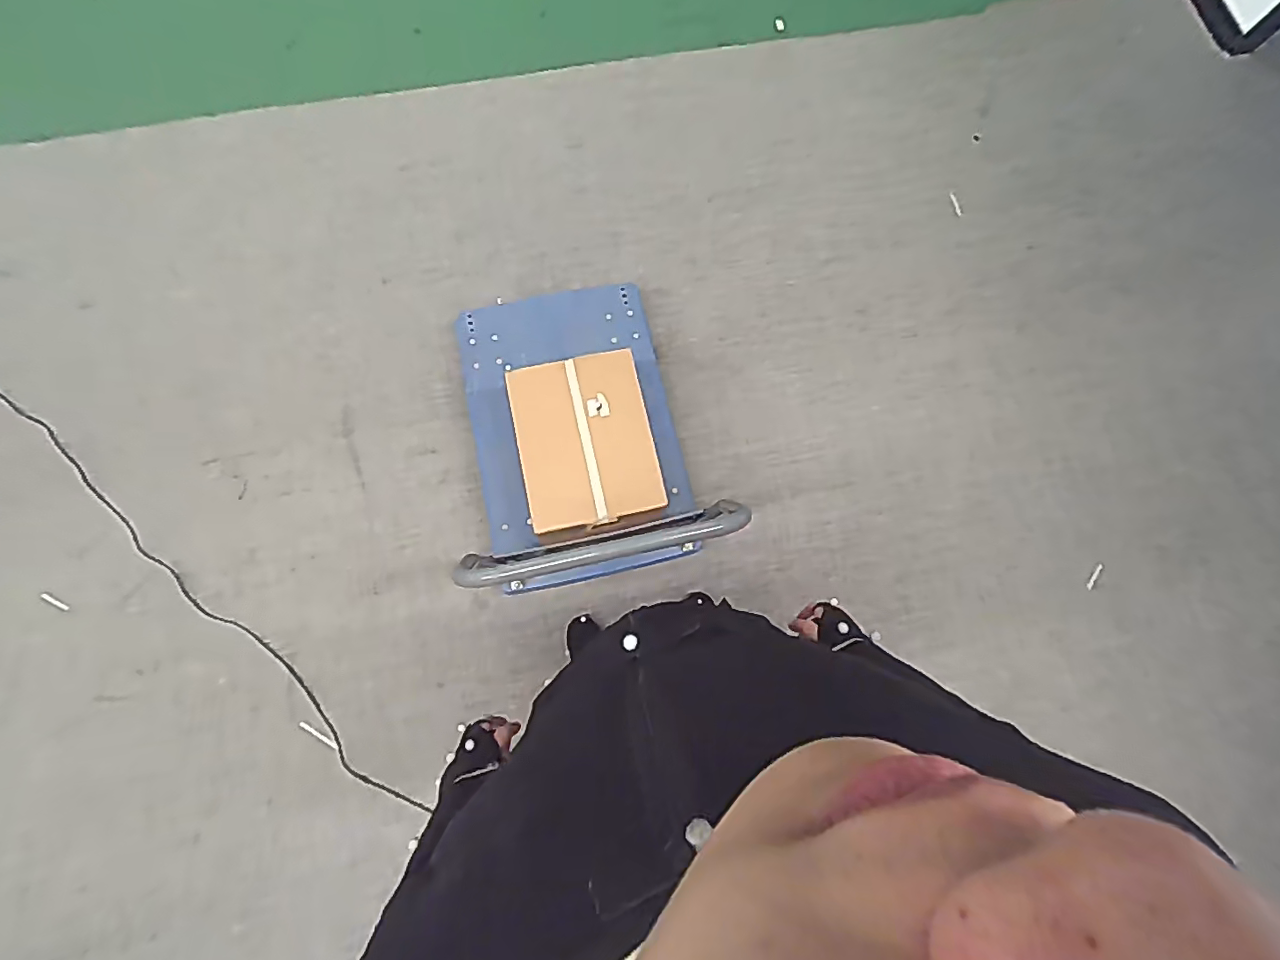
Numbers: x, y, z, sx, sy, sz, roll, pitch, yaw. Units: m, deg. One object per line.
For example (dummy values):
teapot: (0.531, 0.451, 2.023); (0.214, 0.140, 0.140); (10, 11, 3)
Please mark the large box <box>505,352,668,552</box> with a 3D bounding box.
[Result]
large box: (-0.135, -0.057, 1.408); (0.320, 0.320, 0.408); (-12, 76, -7)
